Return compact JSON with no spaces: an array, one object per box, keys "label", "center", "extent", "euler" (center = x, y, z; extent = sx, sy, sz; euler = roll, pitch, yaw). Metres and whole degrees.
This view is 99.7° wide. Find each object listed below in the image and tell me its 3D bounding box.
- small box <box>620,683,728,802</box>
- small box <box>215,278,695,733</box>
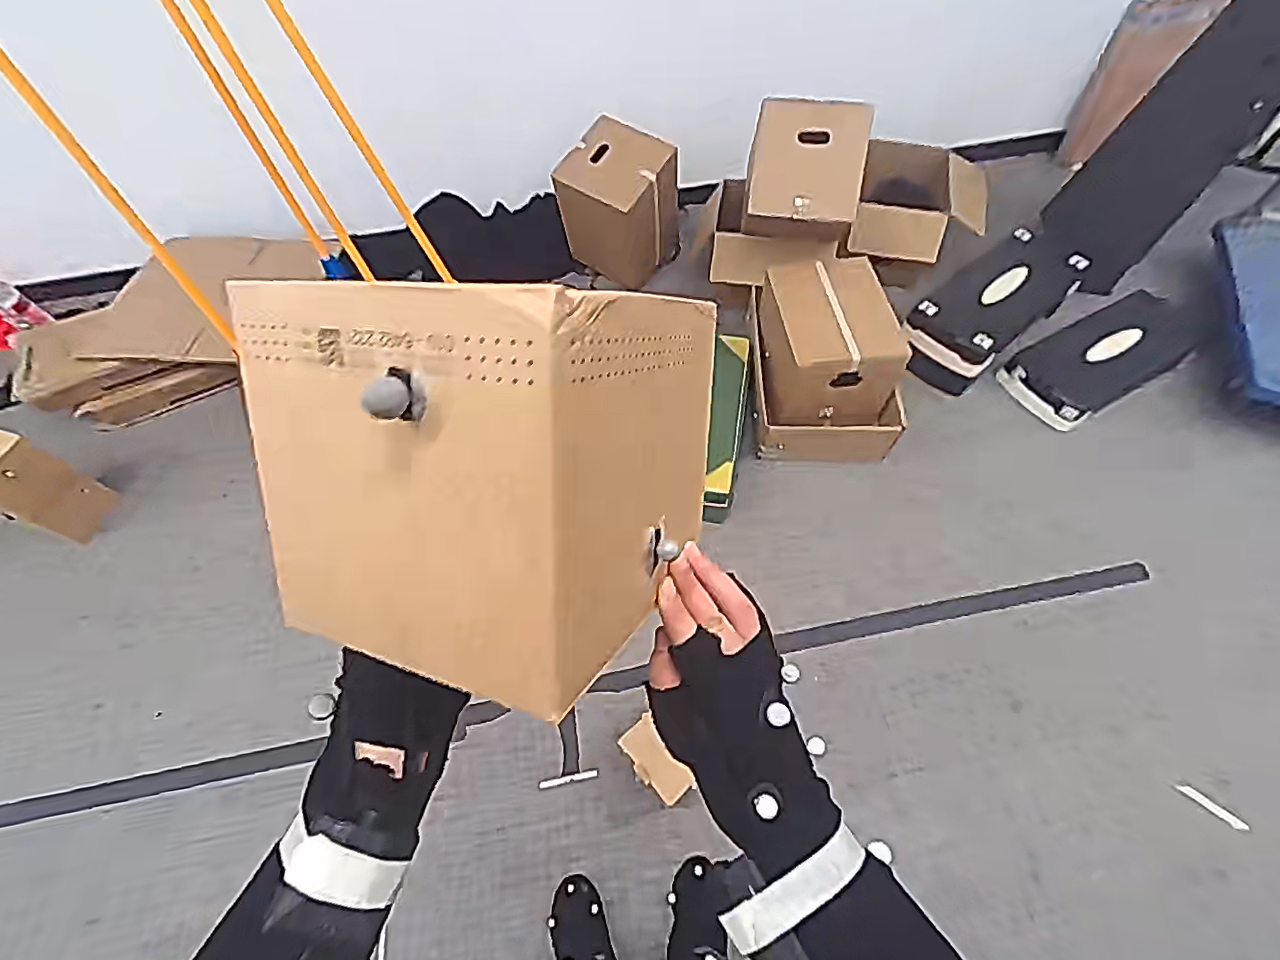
[{"label":"small box","center":[0.077,0.595,1.218],"extent":[0.179,0.176,0.168],"euler":[-39,65,-20]},{"label":"small box","center":[-0.074,-0.013,0.290],"extent":[0.168,0.176,0.179],"euler":[9,19,23]}]
